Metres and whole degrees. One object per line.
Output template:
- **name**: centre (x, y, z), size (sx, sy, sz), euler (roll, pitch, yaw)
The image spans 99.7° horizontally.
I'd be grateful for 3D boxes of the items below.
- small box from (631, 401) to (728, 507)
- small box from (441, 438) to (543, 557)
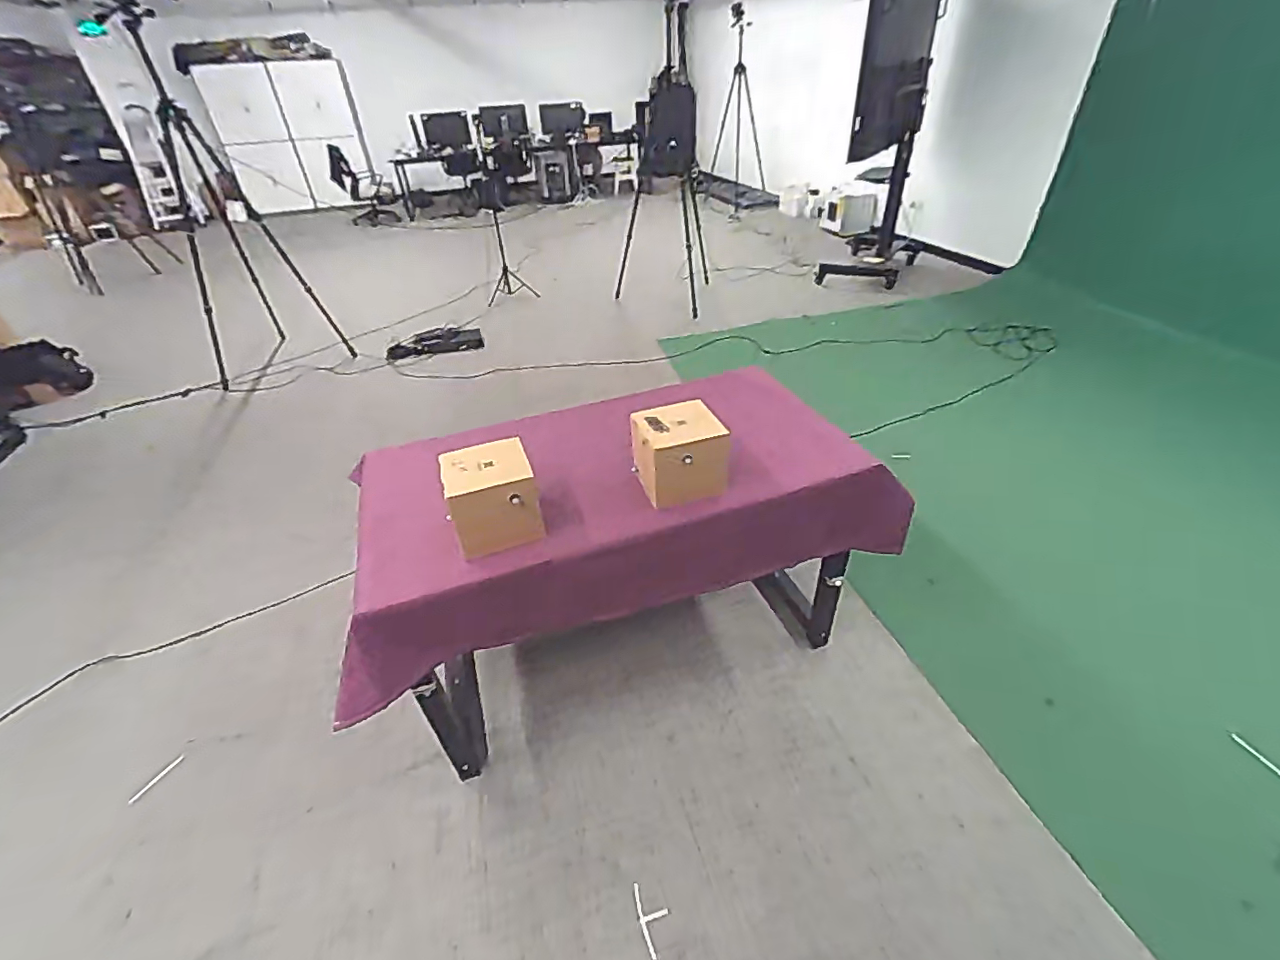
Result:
- **small box**: centre (0.090, -0.059, 1.252), size (0.179, 0.176, 0.168), euler (-13, 38, -13)
- **small box**: centre (-0.312, 0.036, 1.159), size (0.179, 0.176, 0.168), euler (-15, 38, -14)
